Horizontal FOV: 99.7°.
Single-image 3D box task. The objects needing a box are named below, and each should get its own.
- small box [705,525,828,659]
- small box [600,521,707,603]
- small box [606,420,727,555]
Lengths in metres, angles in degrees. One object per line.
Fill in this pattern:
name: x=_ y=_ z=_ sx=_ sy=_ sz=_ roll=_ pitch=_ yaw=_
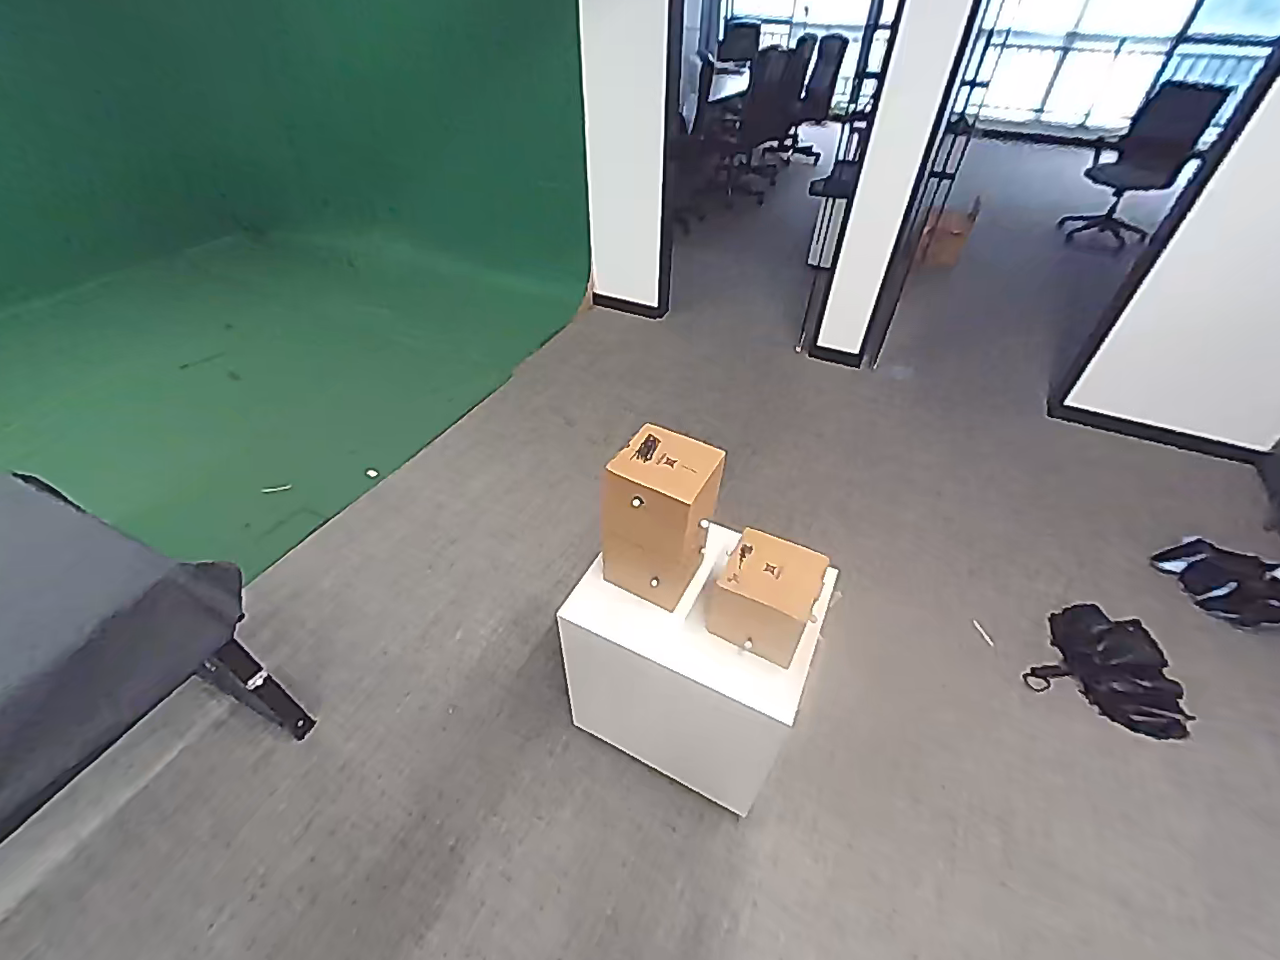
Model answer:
small box: x=0.247 y=0.227 z=1.075 sx=0.179 sy=0.176 sz=0.168 roll=22 pitch=47 yaw=18
small box: x=0.030 y=0.137 z=1.159 sx=0.179 sy=0.176 sz=0.168 roll=22 pitch=45 yaw=19
small box: x=0.045 y=0.016 z=1.047 sx=0.179 sy=0.176 sz=0.168 roll=24 pitch=47 yaw=18
